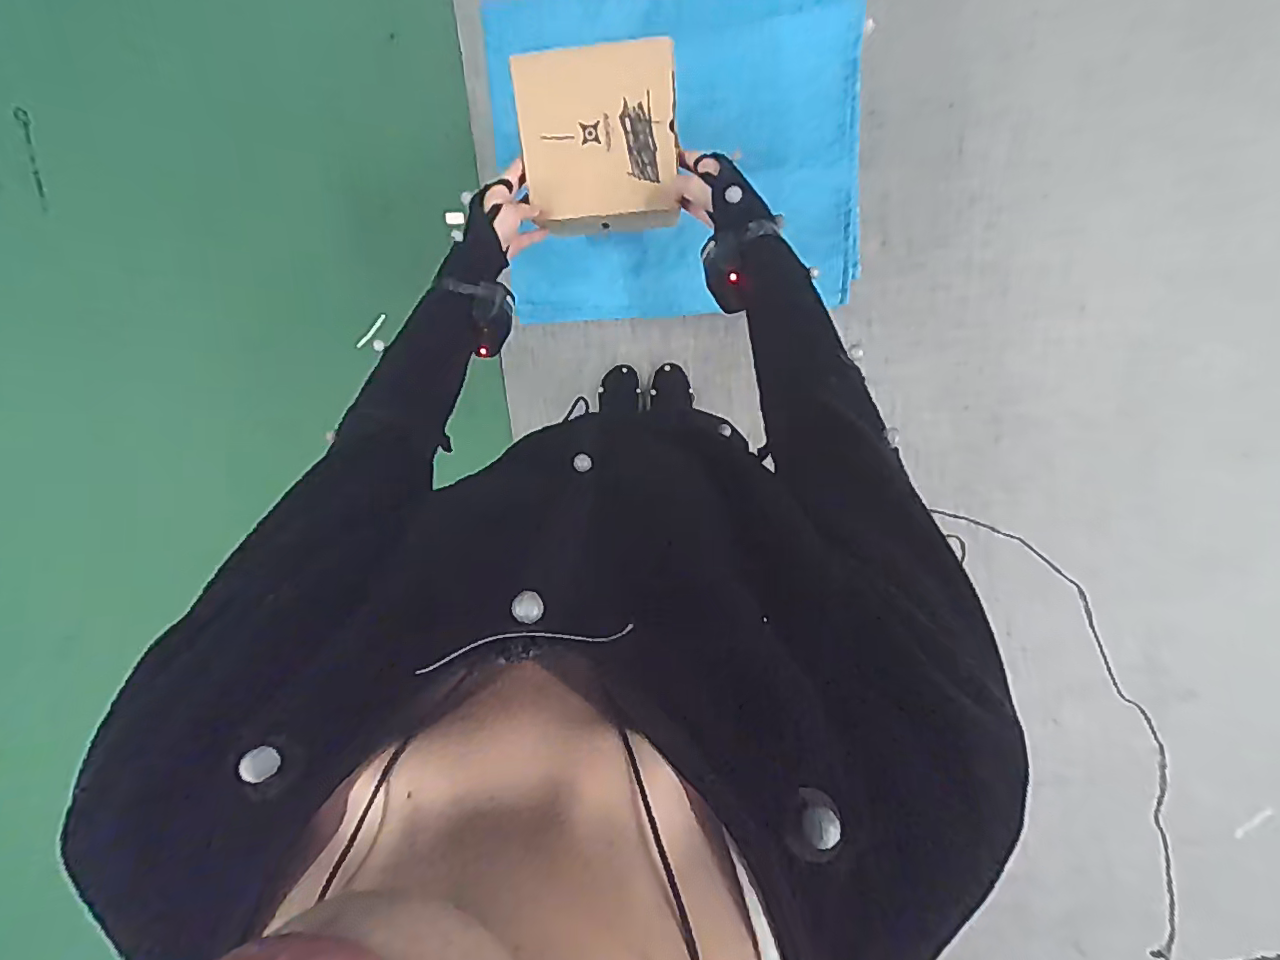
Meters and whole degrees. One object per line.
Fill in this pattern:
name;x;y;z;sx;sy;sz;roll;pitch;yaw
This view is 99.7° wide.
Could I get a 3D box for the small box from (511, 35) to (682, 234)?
small box;-0.042;-0.405;0.663;0.179;0.176;0.168;-3;108;4
